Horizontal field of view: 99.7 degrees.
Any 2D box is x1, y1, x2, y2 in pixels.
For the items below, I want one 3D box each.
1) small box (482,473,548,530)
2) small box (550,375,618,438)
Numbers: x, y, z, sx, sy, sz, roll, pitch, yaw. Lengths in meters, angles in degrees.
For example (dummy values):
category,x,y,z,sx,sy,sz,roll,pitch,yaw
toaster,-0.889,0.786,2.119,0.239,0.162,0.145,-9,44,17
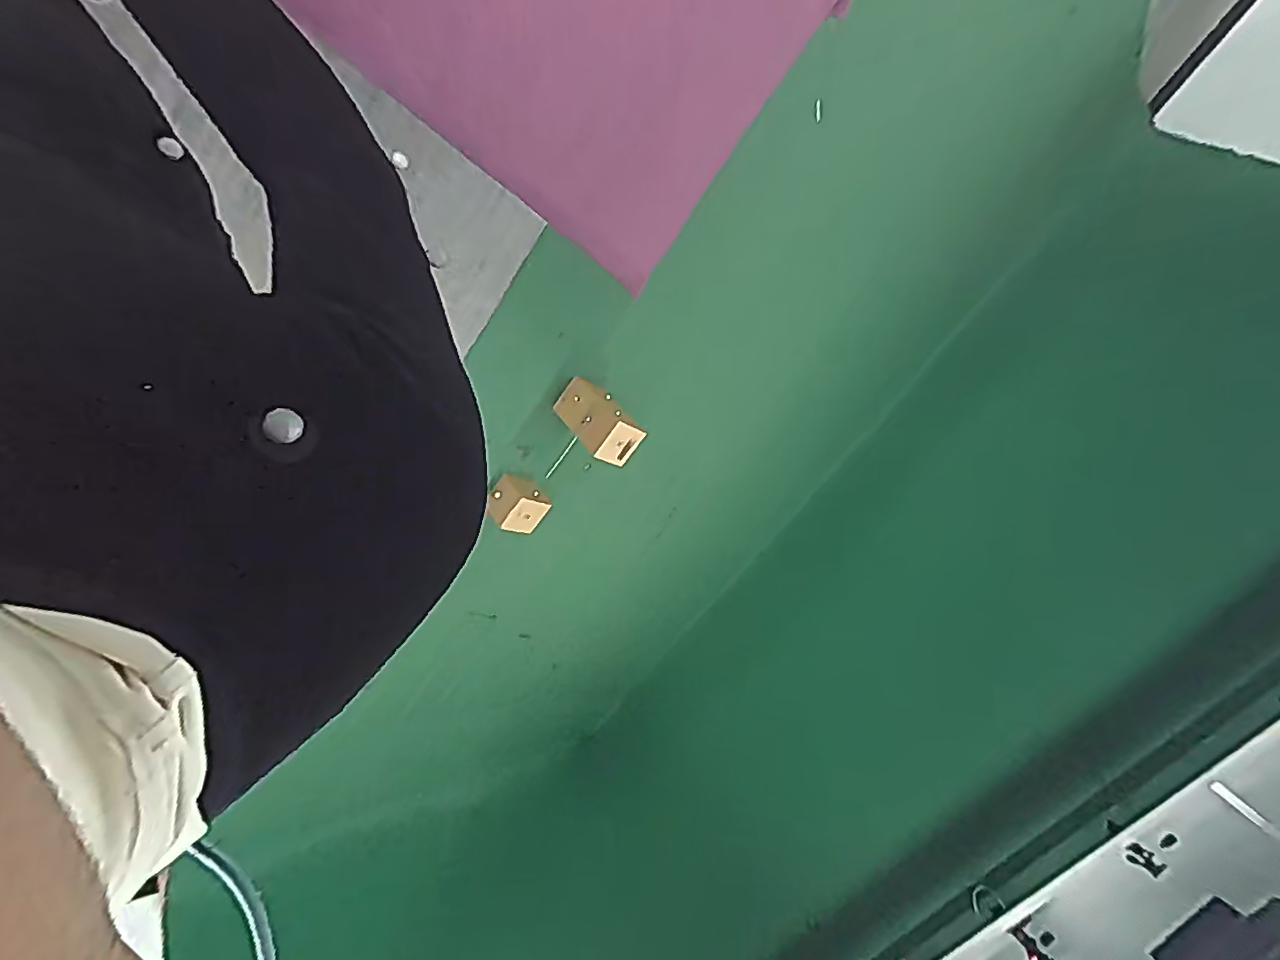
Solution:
category,x,y,z,sx,sy,sz,roll,pitch,yaw
small box,-0.528,0.089,2.277,0.168,0.176,0.179,-52,146,13
small box,-0.228,-0.296,2.160,0.168,0.176,0.179,-53,146,14
